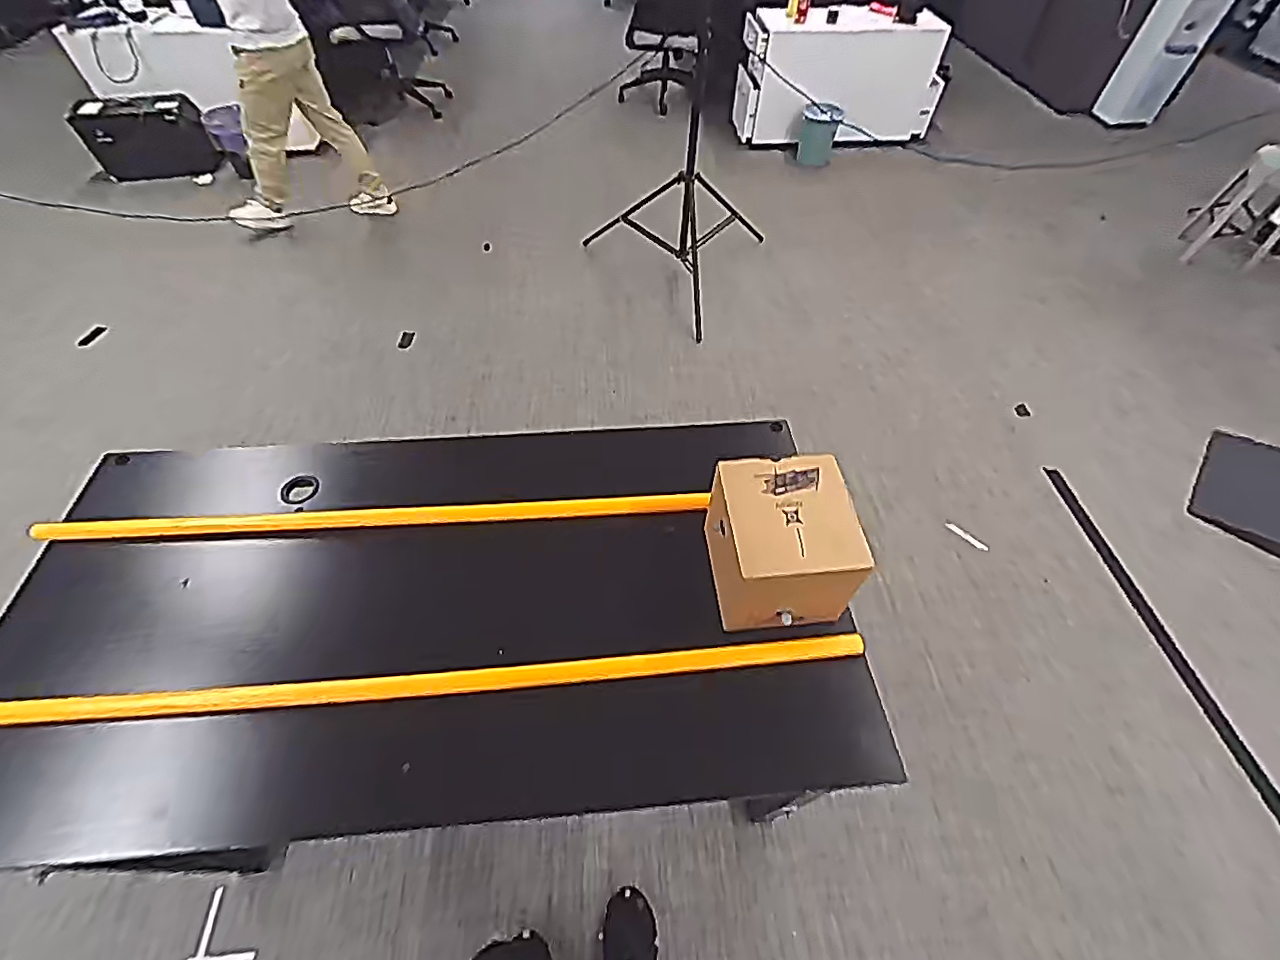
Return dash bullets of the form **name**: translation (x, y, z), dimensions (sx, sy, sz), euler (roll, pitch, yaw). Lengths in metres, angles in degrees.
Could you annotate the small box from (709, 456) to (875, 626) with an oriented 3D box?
- **small box**: translation (0.197, 0.088, 0.763), dimensions (0.168, 0.176, 0.179), euler (-4, 54, -3)
